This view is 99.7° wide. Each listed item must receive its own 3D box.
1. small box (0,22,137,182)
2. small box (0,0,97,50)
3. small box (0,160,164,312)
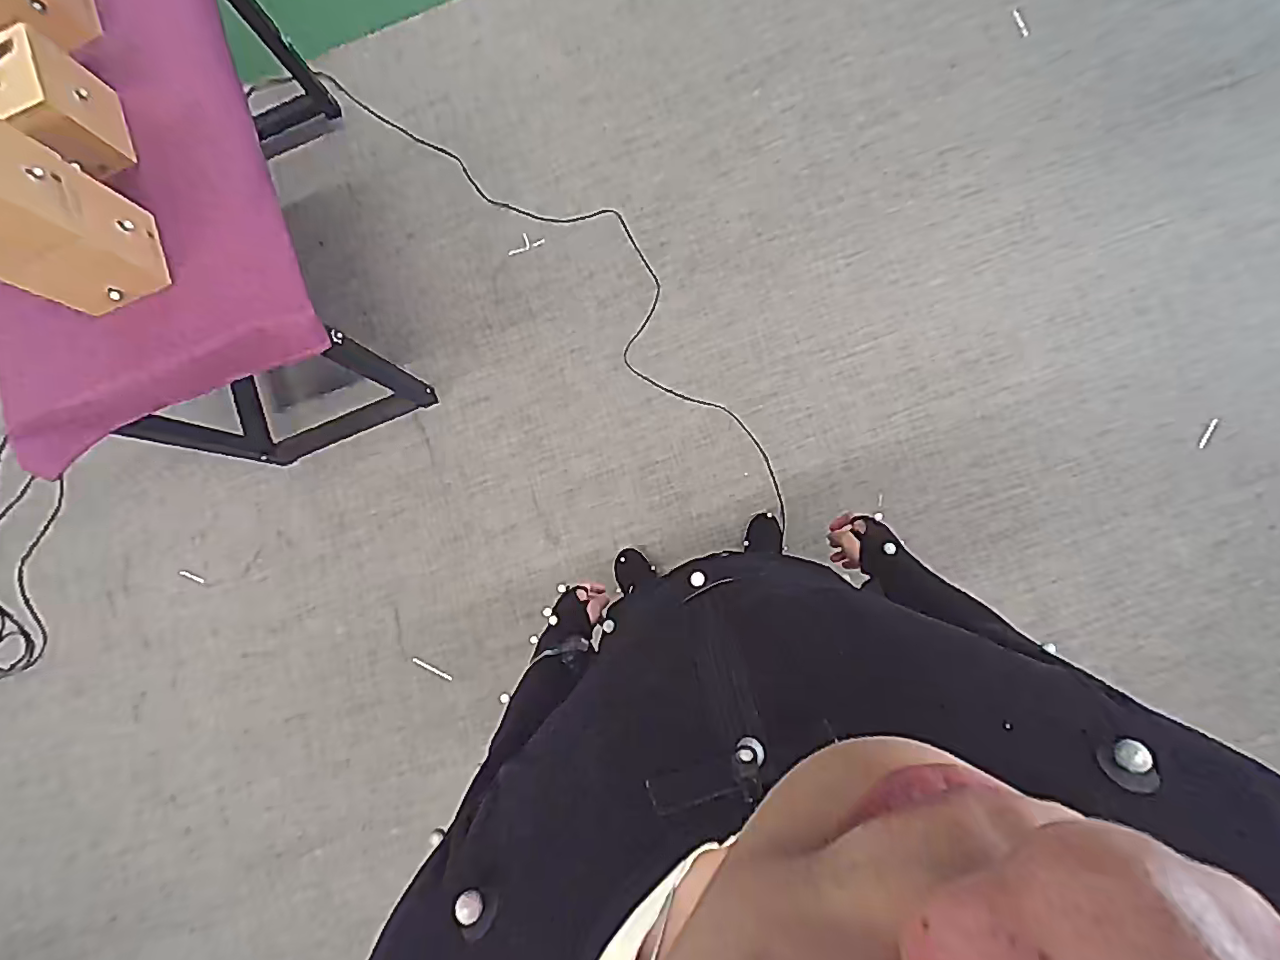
[{"bbox_3d":[-1.145,-0.715,1.050,0.168,0.176,0.179,-22,83,3],"label":"small box"},{"bbox_3d":[-1.260,-1.011,1.094,0.179,0.176,0.168,-21,82,3],"label":"small box"},{"bbox_3d":[-1.044,-0.445,1.011,0.179,0.176,0.168,-22,81,2],"label":"small box"}]
